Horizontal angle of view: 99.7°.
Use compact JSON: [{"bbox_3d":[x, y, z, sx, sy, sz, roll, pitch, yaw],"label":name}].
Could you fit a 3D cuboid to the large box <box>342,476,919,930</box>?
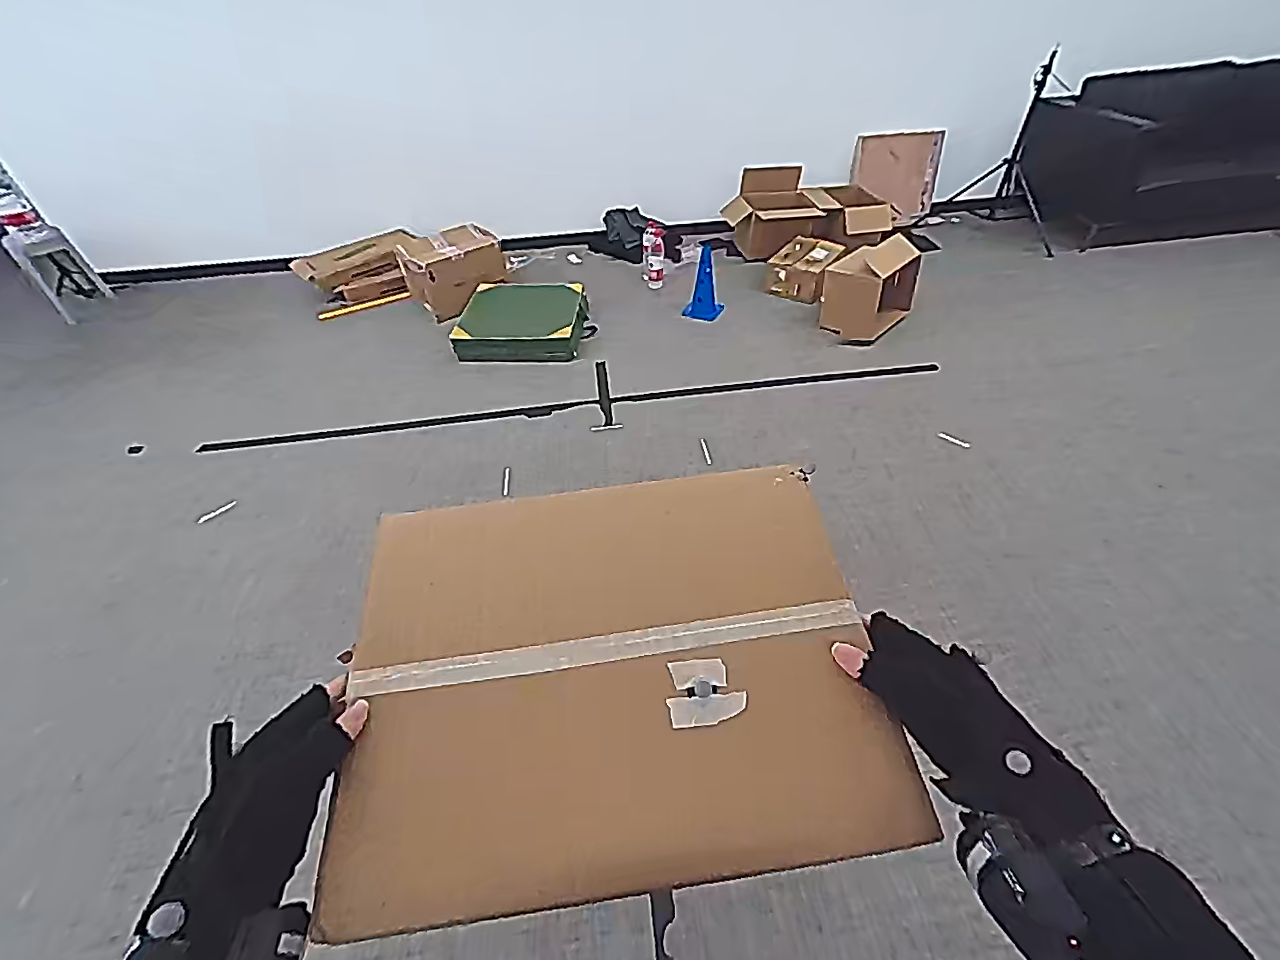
[{"bbox_3d":[-0.017,0.231,0.568,0.408,0.320,0.320,-7,55,-3],"label":"large box"}]
